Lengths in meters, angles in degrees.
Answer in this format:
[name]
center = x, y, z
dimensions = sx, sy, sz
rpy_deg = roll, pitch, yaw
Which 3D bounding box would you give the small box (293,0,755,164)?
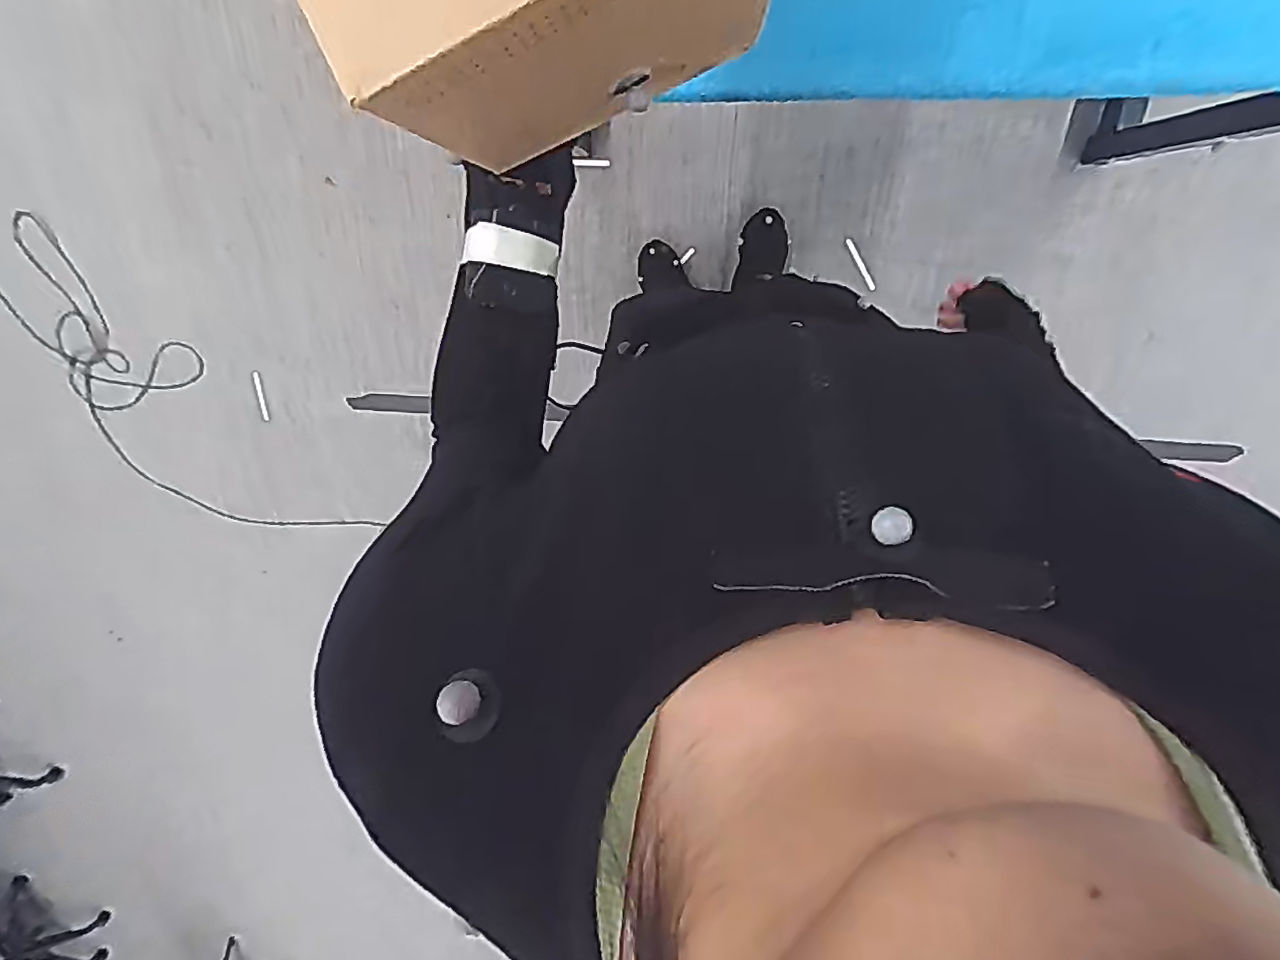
[small box]
center = -0.051, -0.266, 0.228
dimensions = 0.179, 0.176, 0.168
rpy_deg = -18, 108, 13
